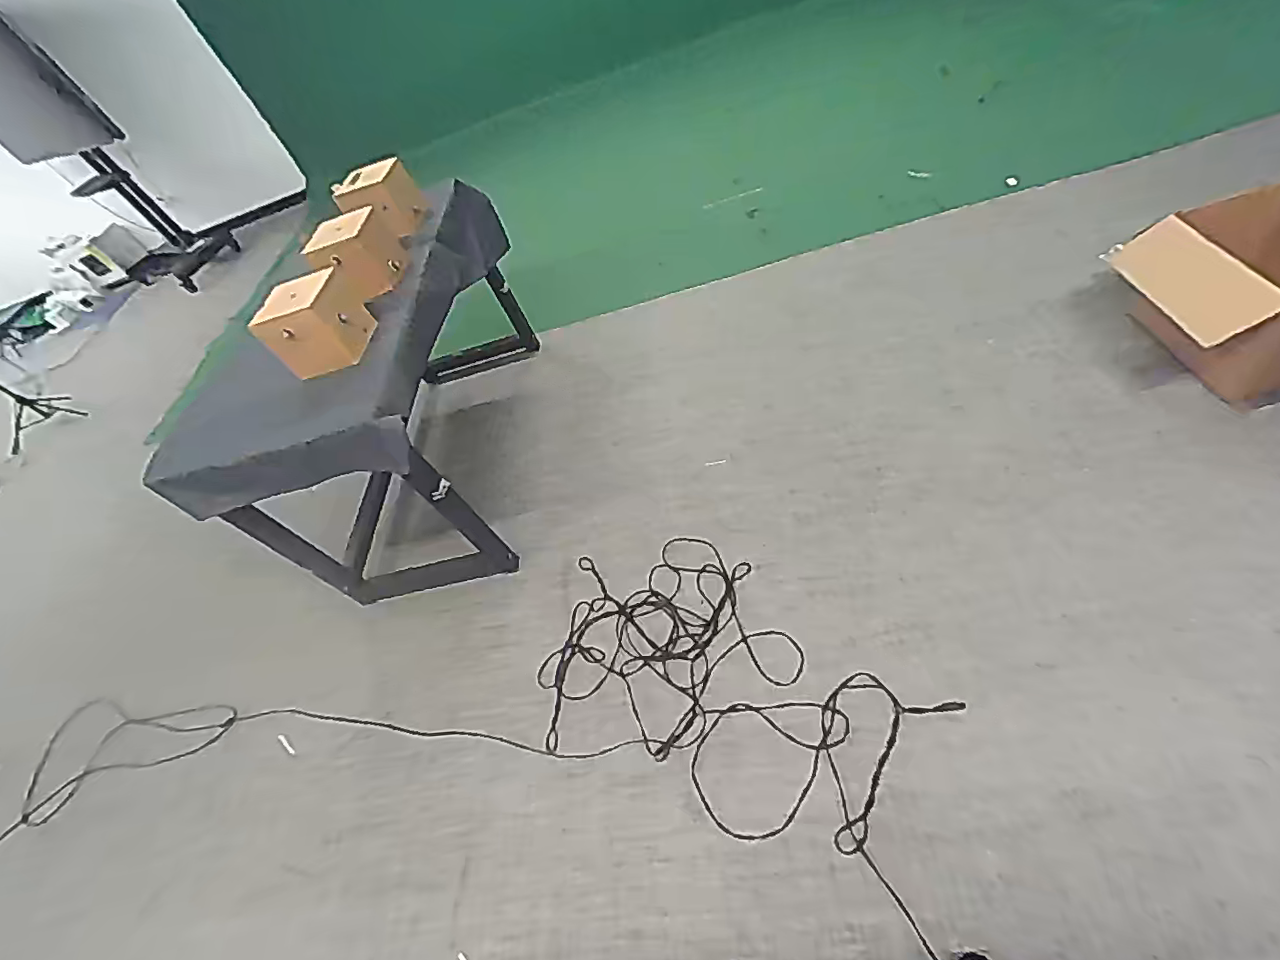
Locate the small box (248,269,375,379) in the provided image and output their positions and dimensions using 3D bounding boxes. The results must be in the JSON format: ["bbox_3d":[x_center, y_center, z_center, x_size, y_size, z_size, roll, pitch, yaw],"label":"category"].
[{"bbox_3d":[-0.781,-0.372,1.308,0.179,0.176,0.168,-12,50,13],"label":"small box"}]

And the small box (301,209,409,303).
[{"bbox_3d":[-0.780,-0.611,1.498,0.179,0.176,0.168,-11,51,12],"label":"small box"}]
